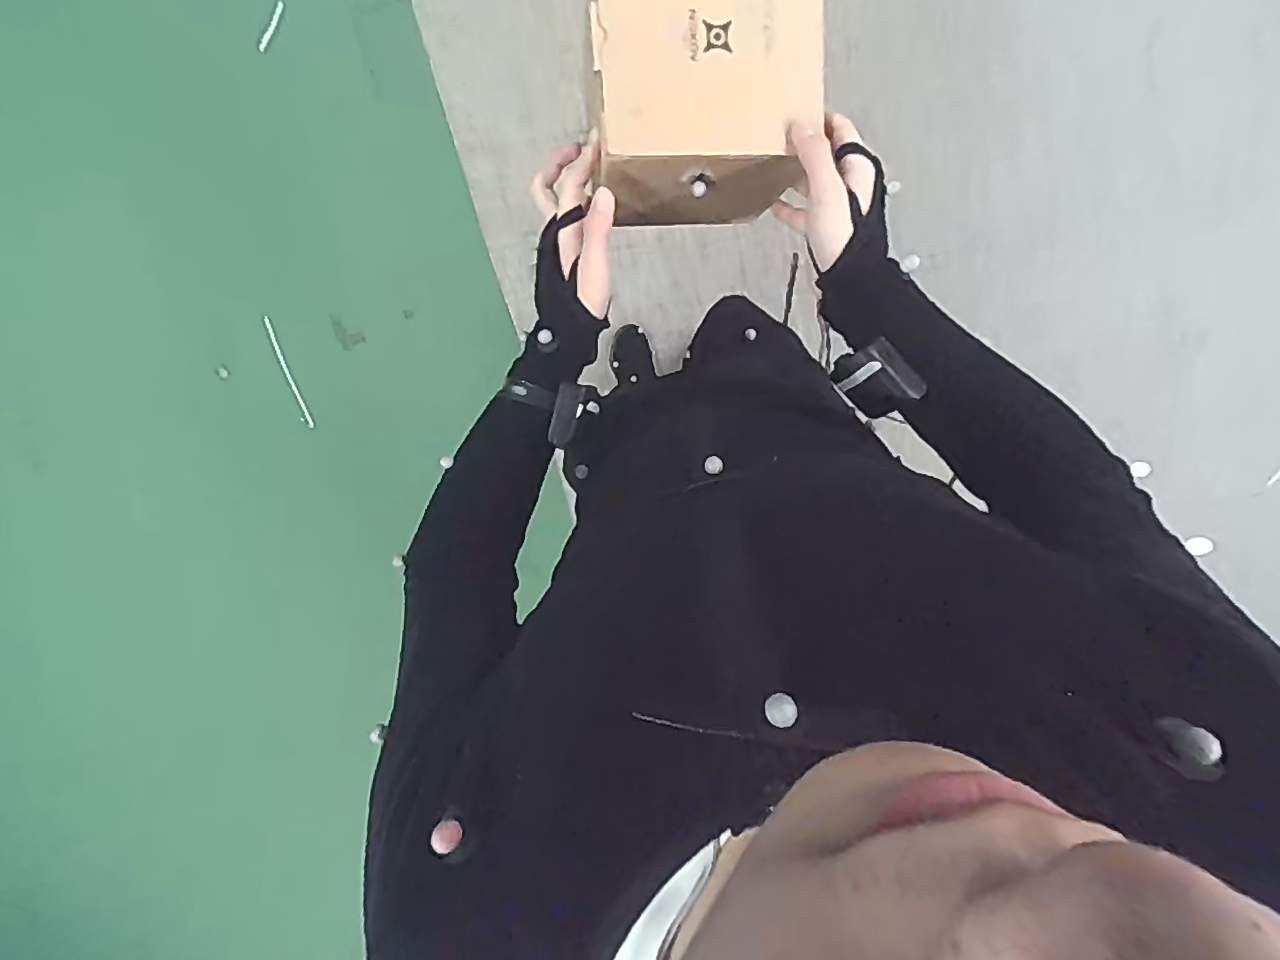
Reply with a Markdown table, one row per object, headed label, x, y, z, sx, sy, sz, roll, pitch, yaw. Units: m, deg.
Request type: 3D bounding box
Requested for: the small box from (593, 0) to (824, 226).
| label | x | y | z | sx | sy | sz | roll | pitch | yaw |
| --- | --- | --- | --- | --- | --- | --- | --- | --- | --- |
| small box | 0.048 | -0.342 | 0.488 | 0.179 | 0.176 | 0.168 | -3 | 97 | -7 |
